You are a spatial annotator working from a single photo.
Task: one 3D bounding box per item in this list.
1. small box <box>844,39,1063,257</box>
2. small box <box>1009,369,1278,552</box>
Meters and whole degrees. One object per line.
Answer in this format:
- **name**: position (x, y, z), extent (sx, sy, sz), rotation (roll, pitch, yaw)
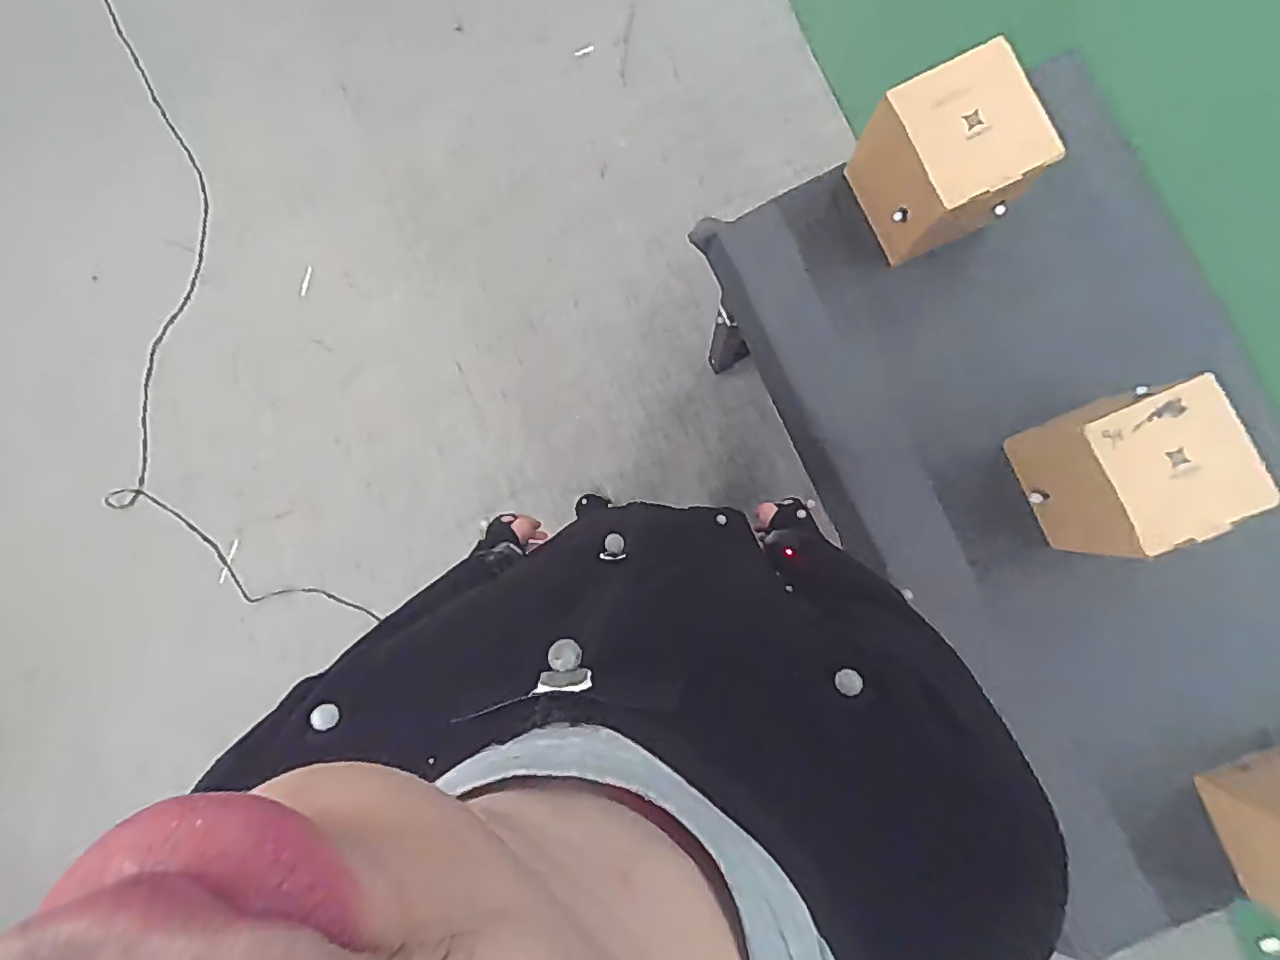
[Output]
- **small box**: position (0.420, -0.442, 0.757), extent (0.168, 0.176, 0.179), rotation (-27, 85, -1)
- **small box**: position (0.654, -0.022, 0.728), extent (0.168, 0.176, 0.179), rotation (-25, 87, 0)
